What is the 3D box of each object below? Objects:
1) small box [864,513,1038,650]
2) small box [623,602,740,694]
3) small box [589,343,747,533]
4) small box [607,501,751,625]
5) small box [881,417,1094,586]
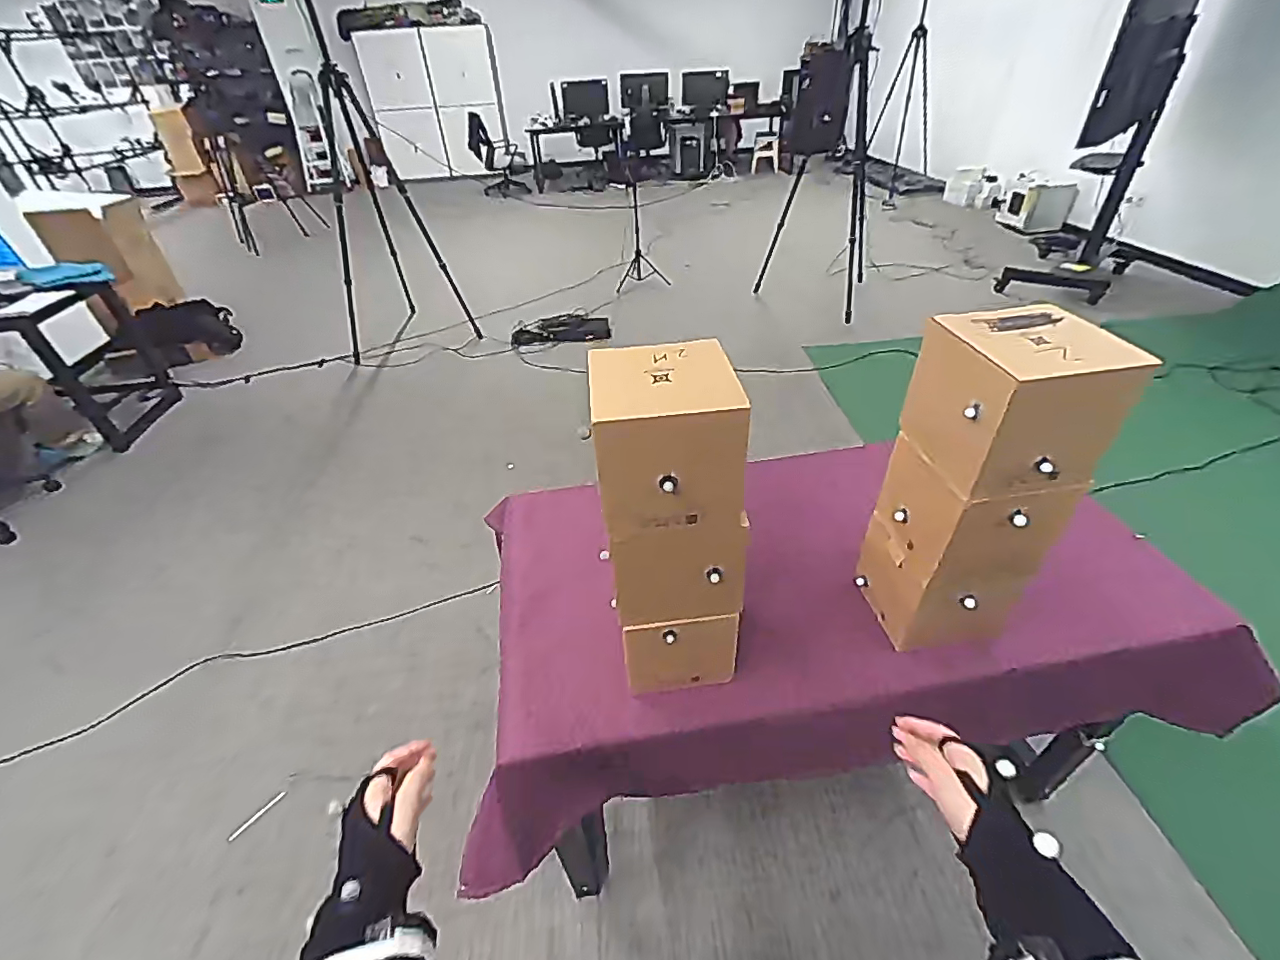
[{"bbox_3d":[0.488,0.158,0.885,0.179,0.176,0.168,-7,39,-4],"label":"small box"},{"bbox_3d":[0.055,0.211,0.861,0.168,0.176,0.179,-7,38,-3],"label":"small box"},{"bbox_3d":[0.029,-0.048,0.662,0.168,0.176,0.179,-5,38,-2],"label":"small box"},{"bbox_3d":[0.046,0.083,0.760,0.179,0.176,0.168,-6,38,-2],"label":"small box"},{"bbox_3d":[0.481,0.031,0.784,0.179,0.176,0.168,-8,39,-4],"label":"small box"}]
